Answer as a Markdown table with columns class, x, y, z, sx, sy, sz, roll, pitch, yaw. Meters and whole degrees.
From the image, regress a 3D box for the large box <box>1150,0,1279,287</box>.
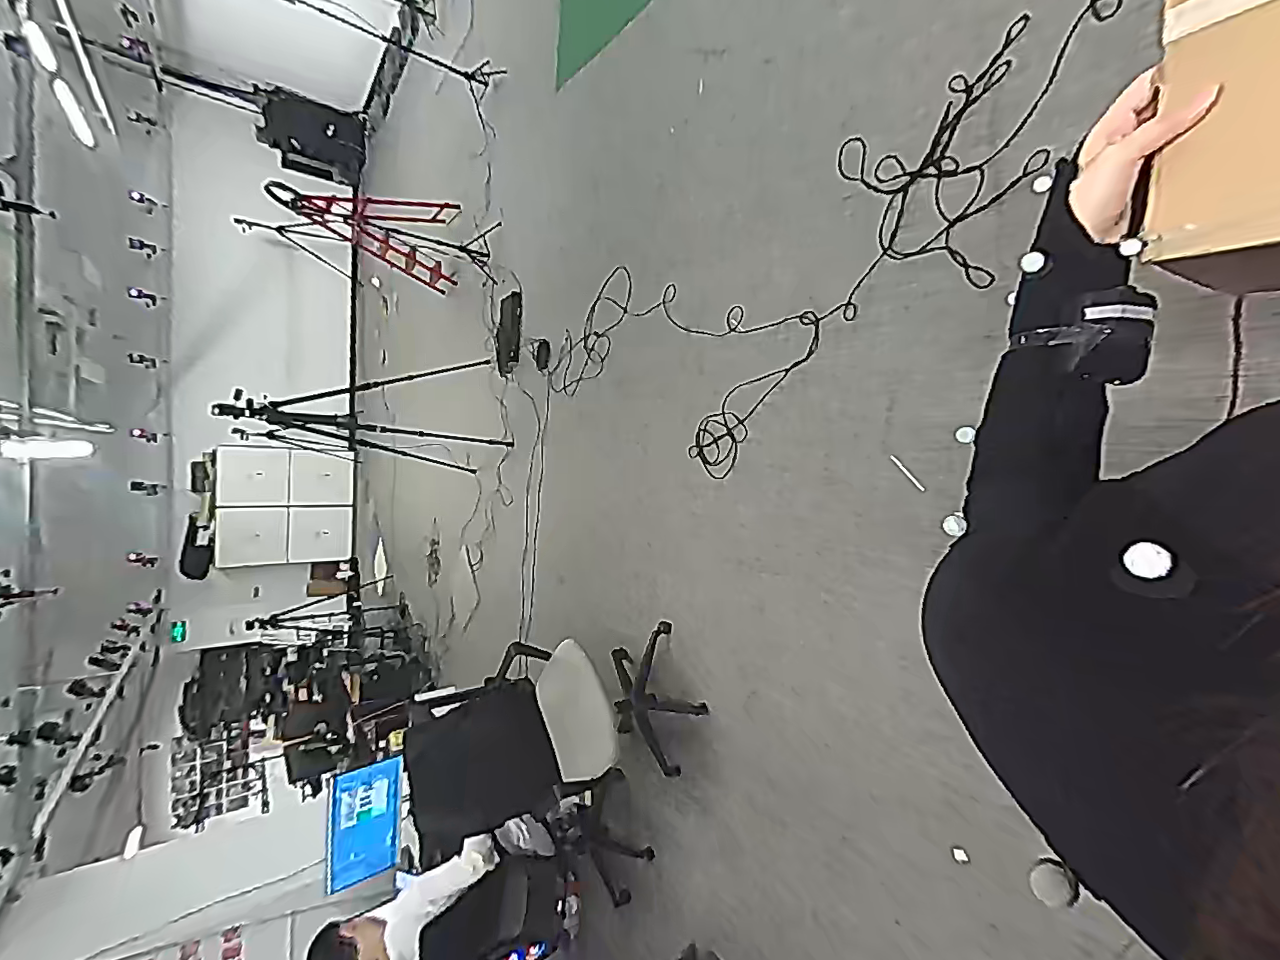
| class | x | y | z | sx | sy | sz | roll | pitch | yaw |
| --- | --- | --- | --- | --- | --- | --- | --- | --- | --- |
| large box | 0.621 | -0.315 | 0.312 | 0.408 | 0.320 | 0.320 | 11 | 105 | 56 |
